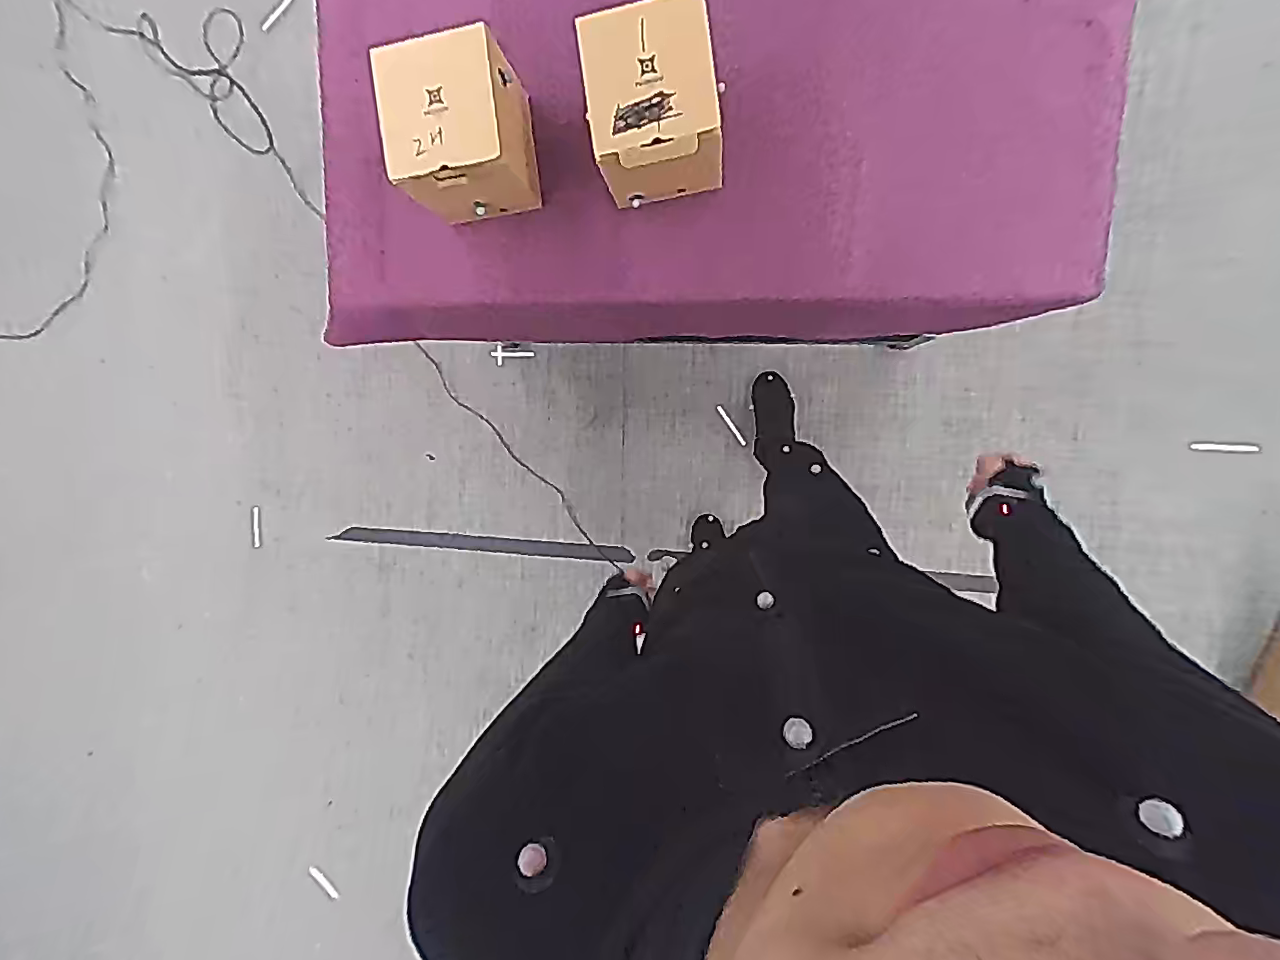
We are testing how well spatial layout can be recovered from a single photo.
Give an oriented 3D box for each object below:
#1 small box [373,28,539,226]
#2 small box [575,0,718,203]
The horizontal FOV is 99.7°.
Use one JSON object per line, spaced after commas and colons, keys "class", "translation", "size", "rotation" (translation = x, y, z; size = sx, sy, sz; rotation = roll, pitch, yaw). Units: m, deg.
{"class": "small box", "translation": [-0.261, -0.507, 0.802], "size": [0.168, 0.176, 0.179], "rotation": [-6, 95, 9]}
{"class": "small box", "translation": [0.019, -0.516, 0.763], "size": [0.168, 0.176, 0.179], "rotation": [-8, 94, 9]}
